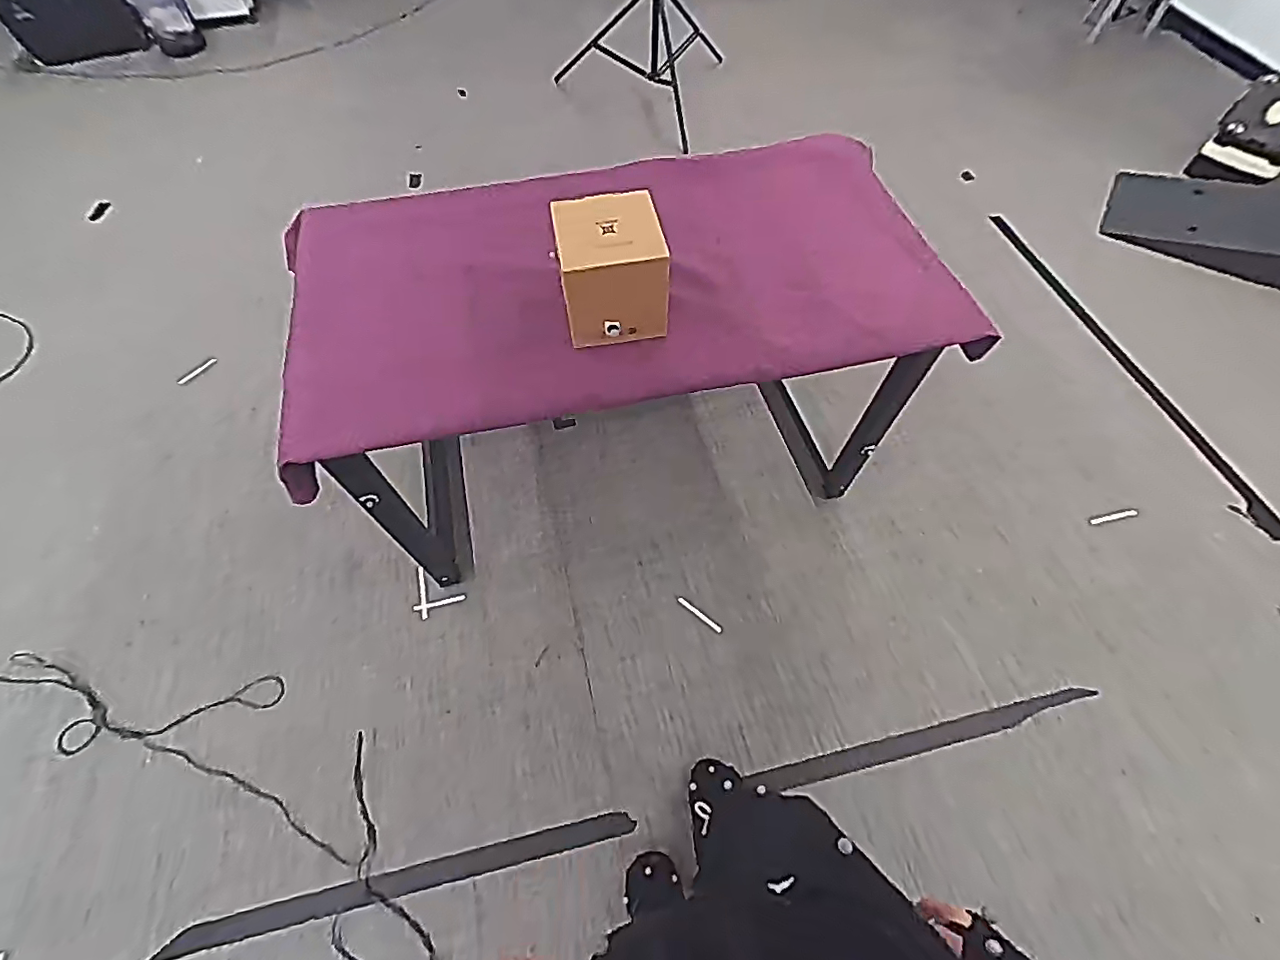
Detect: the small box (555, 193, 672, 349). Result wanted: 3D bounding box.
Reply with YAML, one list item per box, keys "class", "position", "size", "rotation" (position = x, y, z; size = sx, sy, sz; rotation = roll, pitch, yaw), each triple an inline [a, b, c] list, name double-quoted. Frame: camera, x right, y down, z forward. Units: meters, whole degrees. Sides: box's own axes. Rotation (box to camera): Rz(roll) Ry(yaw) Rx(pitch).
- class: "small box"
  position: [-0.046, -0.351, 0.918]
  size: [0.168, 0.176, 0.179]
  rotation: [-10, 61, -5]
